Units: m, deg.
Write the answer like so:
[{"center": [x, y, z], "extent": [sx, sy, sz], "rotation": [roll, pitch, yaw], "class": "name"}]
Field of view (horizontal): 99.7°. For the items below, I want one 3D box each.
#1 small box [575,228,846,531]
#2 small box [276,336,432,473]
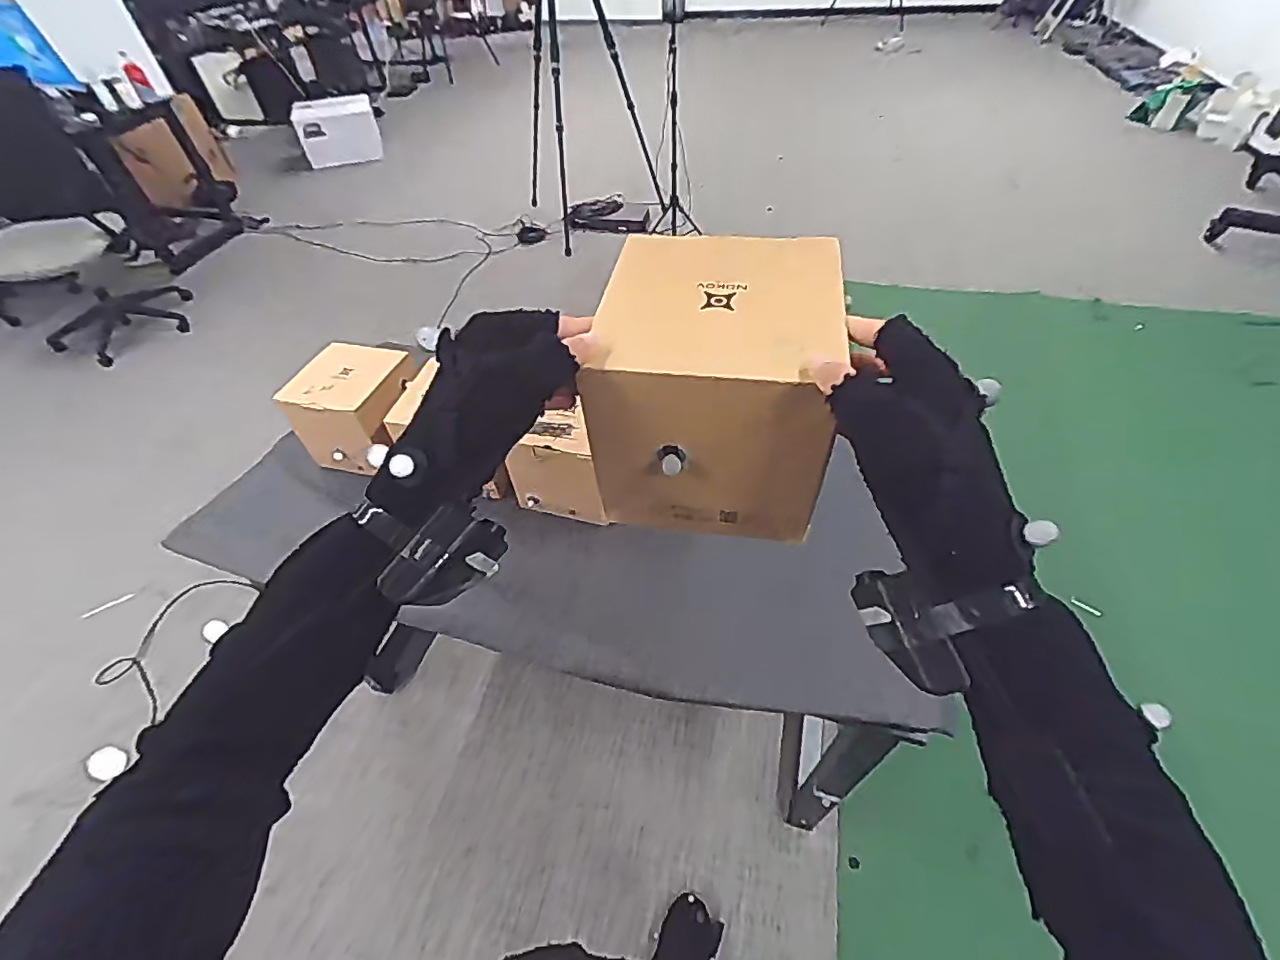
[{"center": [0.061, -0.078, 0.431], "extent": [0.168, 0.176, 0.179], "rotation": [6, 51, 10], "class": "small box"}, {"center": [-0.516, -0.142, 1.012], "extent": [0.168, 0.176, 0.179], "rotation": [10, 50, 12], "class": "small box"}]
